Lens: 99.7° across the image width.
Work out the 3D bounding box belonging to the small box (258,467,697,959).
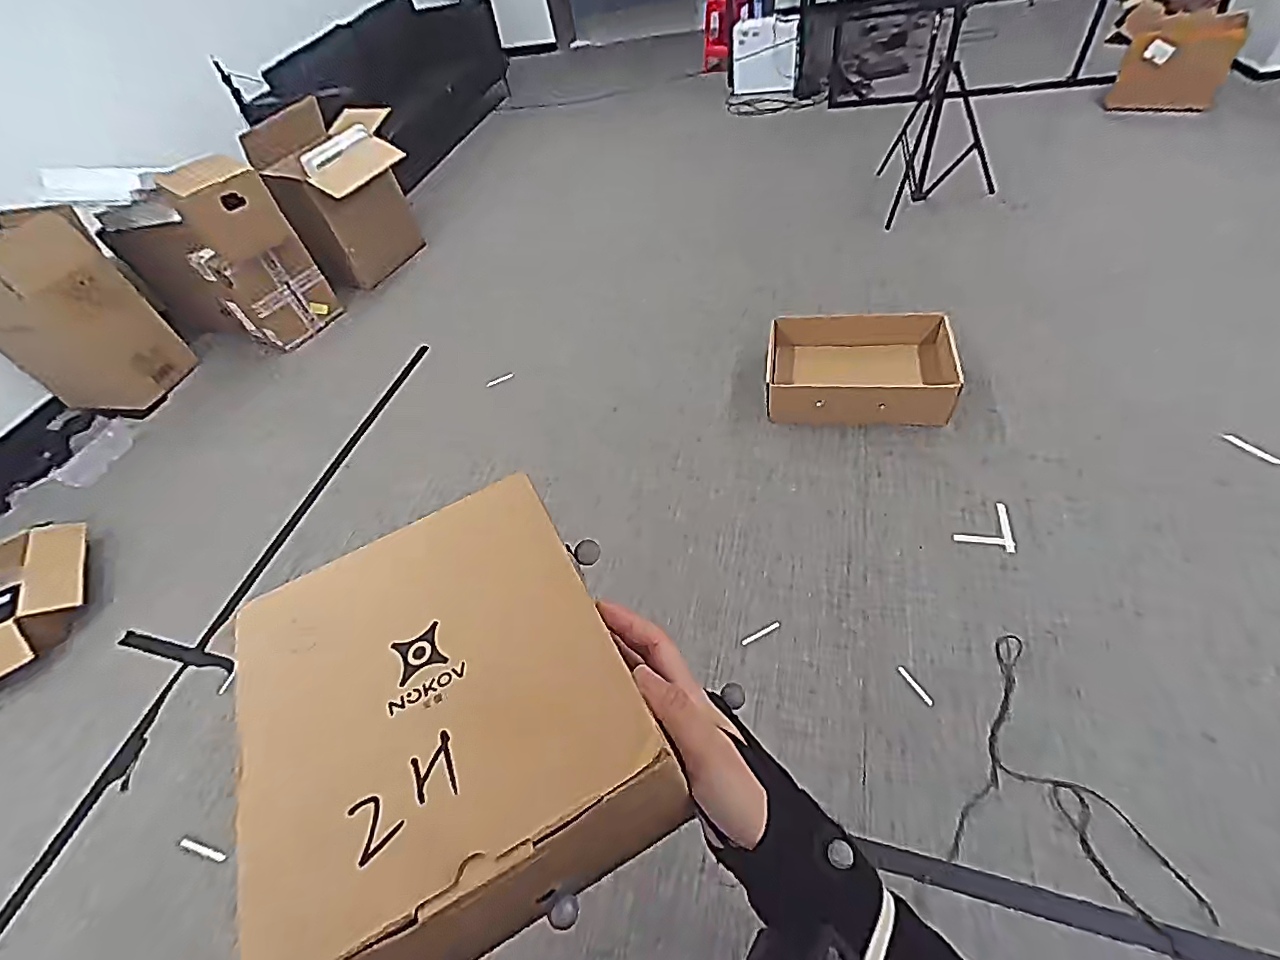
[{"bbox_3d":[-0.081,0.131,0.311,0.168,0.176,0.179,-26,52,-11],"label":"small box"}]
